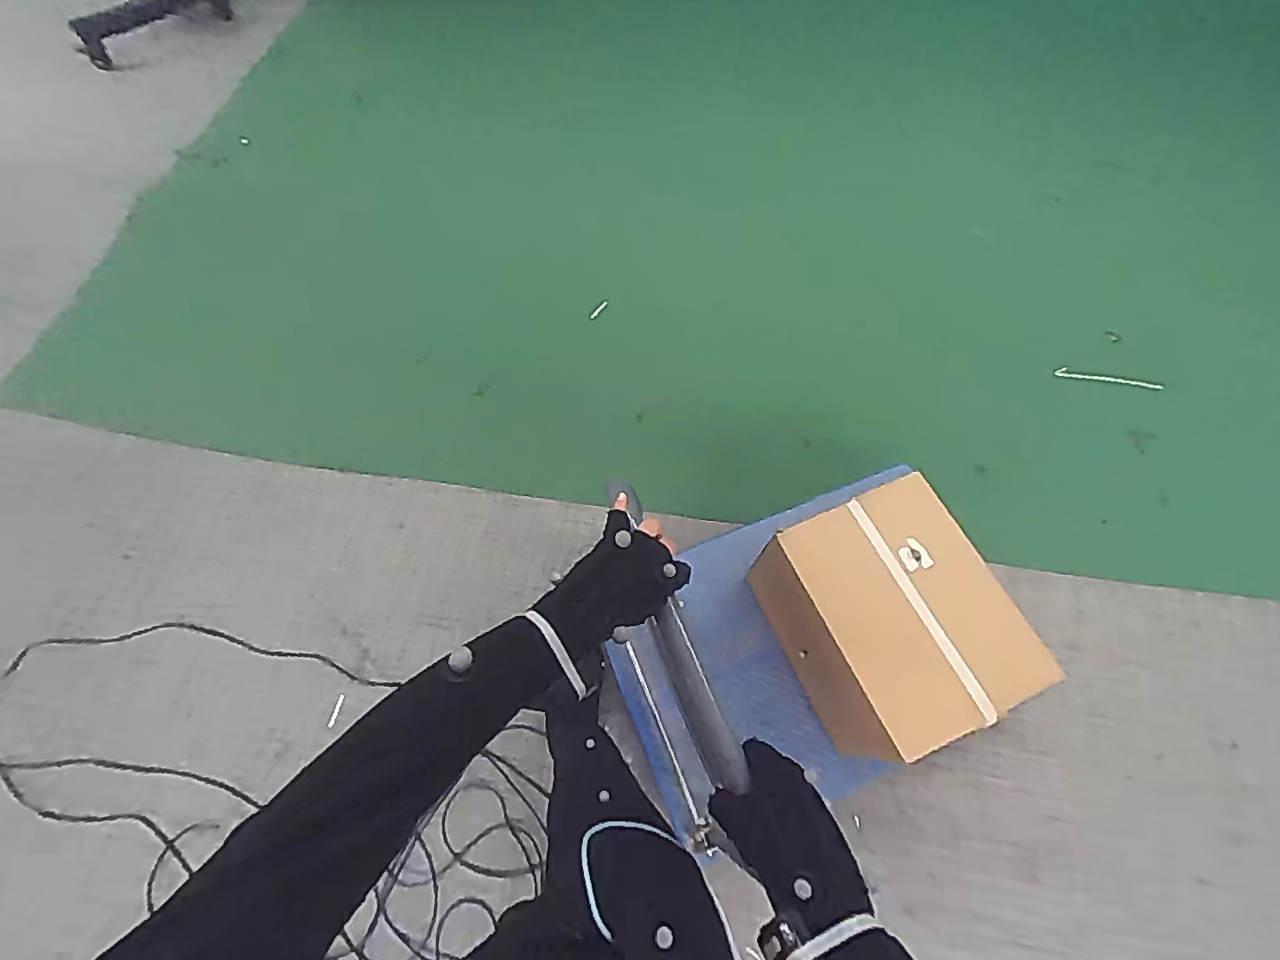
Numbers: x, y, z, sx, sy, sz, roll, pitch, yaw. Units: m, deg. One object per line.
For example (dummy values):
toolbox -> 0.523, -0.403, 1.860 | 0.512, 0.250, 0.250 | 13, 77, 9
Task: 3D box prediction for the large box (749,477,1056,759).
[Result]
large box -> 0.463, 0.275, 1.064 | 0.320, 0.320, 0.408 | -22, 66, -10
